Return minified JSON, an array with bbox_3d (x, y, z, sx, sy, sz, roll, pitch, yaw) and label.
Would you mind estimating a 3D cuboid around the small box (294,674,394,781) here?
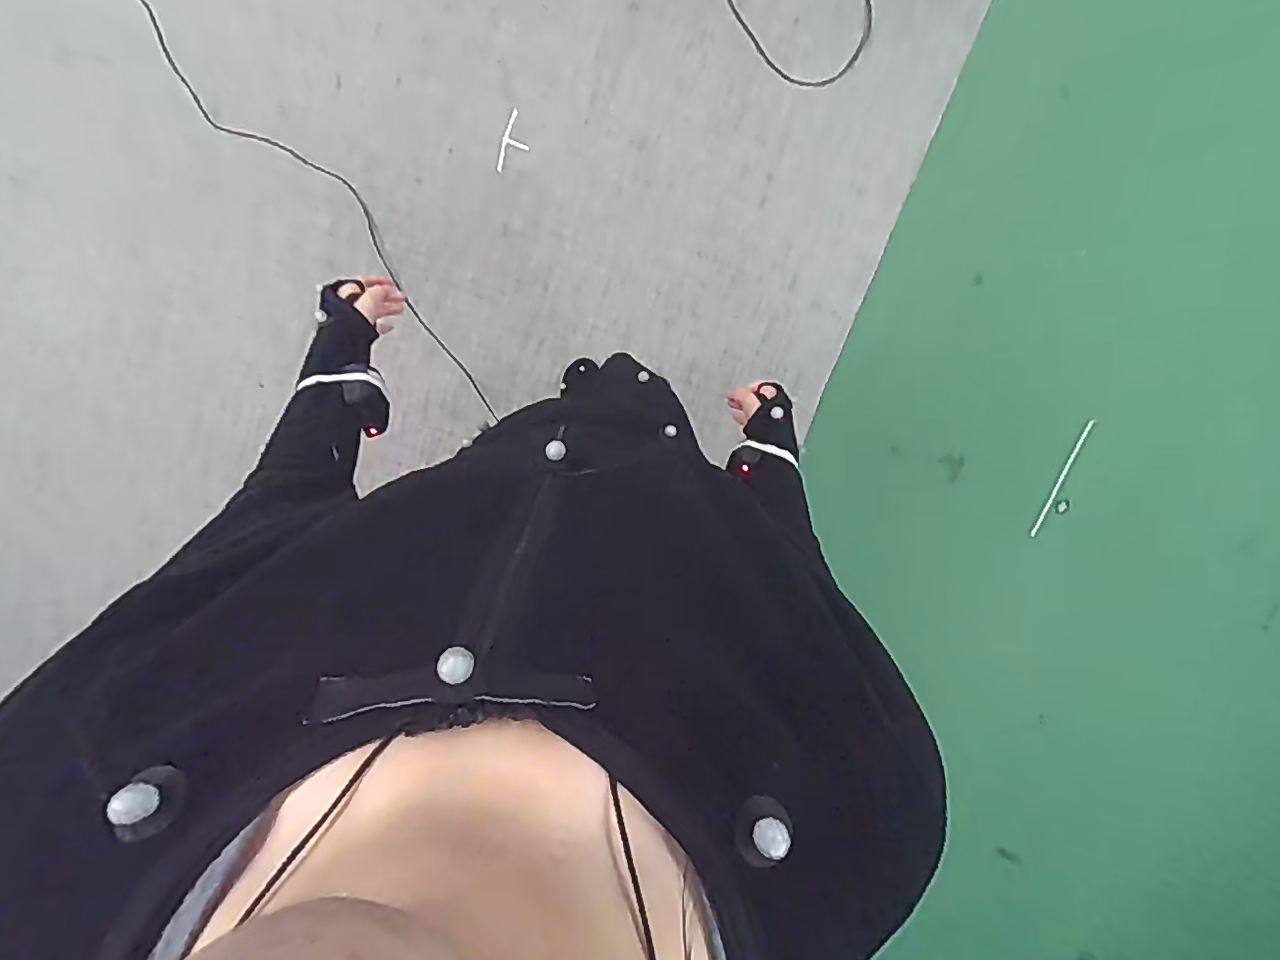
[{"bbox_3d":[-0.798,0.669,1.476,0.168,0.176,0.179,21,99,-9],"label":"small box"}]
